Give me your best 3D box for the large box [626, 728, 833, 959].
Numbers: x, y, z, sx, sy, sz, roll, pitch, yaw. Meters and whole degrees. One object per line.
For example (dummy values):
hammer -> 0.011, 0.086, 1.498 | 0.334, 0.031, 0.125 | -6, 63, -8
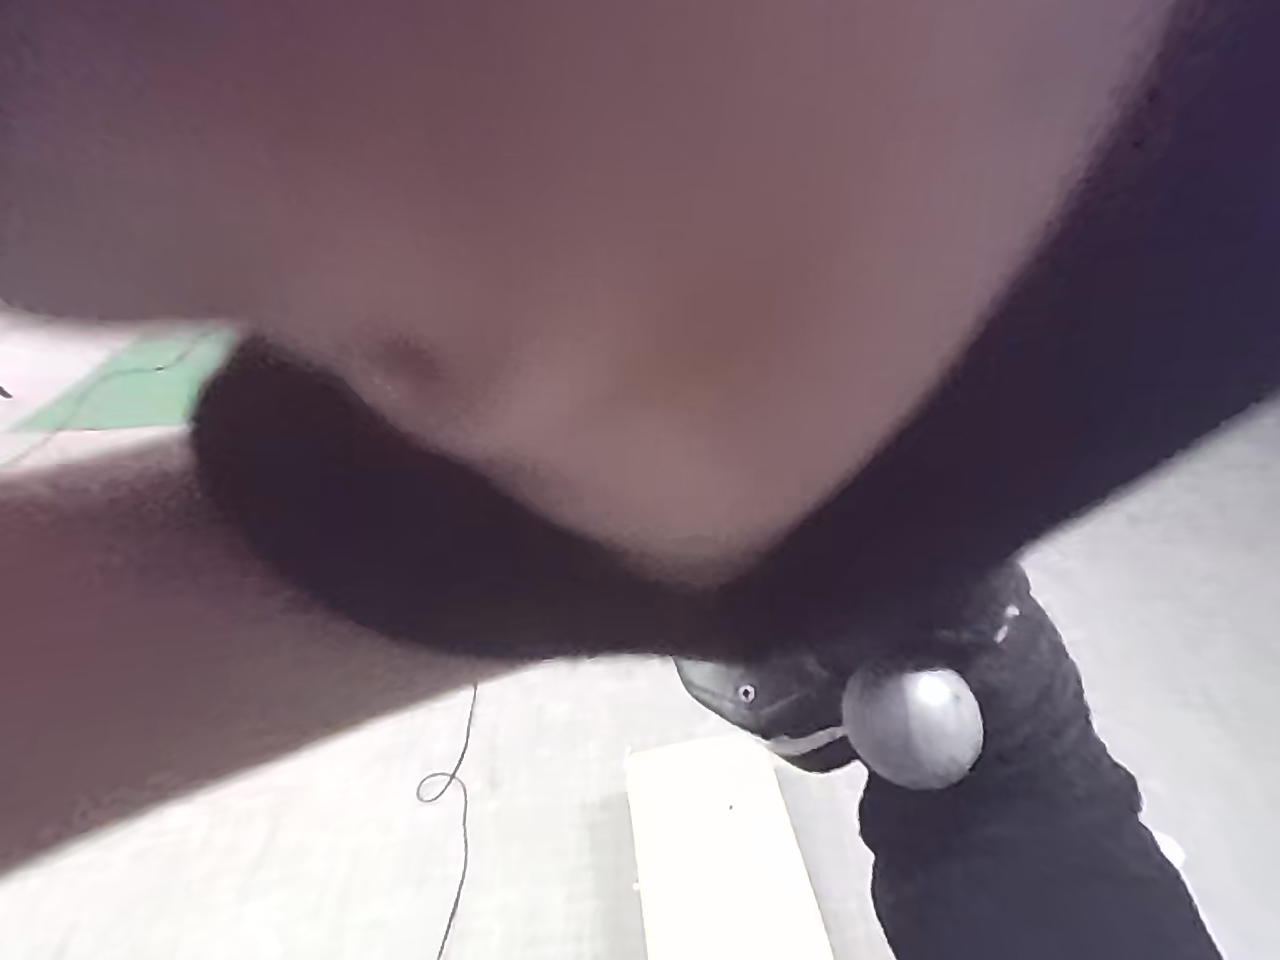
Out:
large box -> 0.161, 0.820, 1.152 | 0.320, 0.320, 0.408 | -8, 40, -5
